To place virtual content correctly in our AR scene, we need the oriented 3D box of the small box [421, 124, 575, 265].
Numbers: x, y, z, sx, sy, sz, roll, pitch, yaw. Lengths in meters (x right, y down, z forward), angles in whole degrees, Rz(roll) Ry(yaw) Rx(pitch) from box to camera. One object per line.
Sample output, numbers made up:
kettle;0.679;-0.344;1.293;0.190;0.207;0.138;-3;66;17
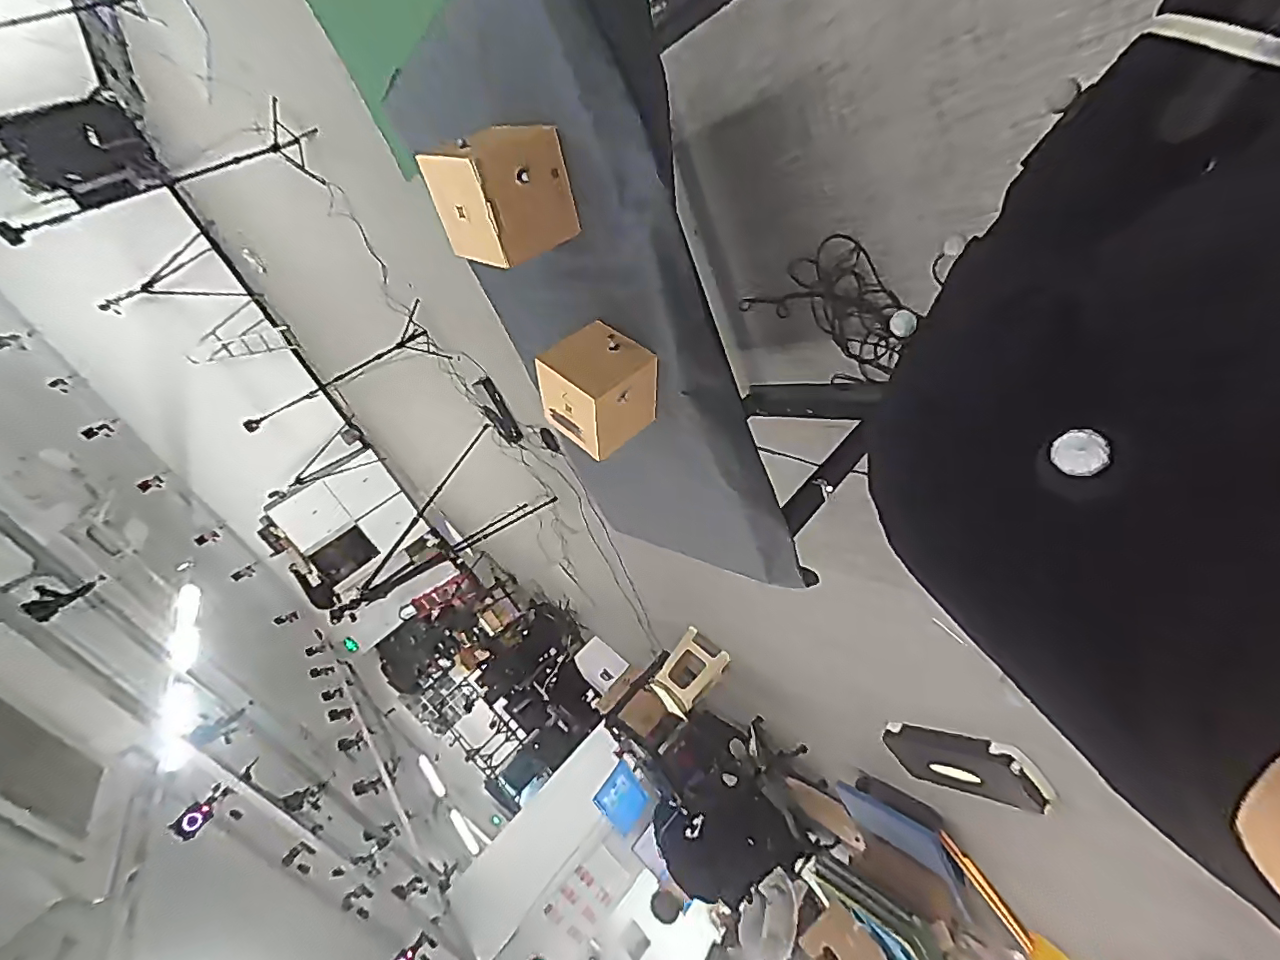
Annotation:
small box;-0.228;-0.489;0.917;0.179;0.176;0.168;30;146;37
